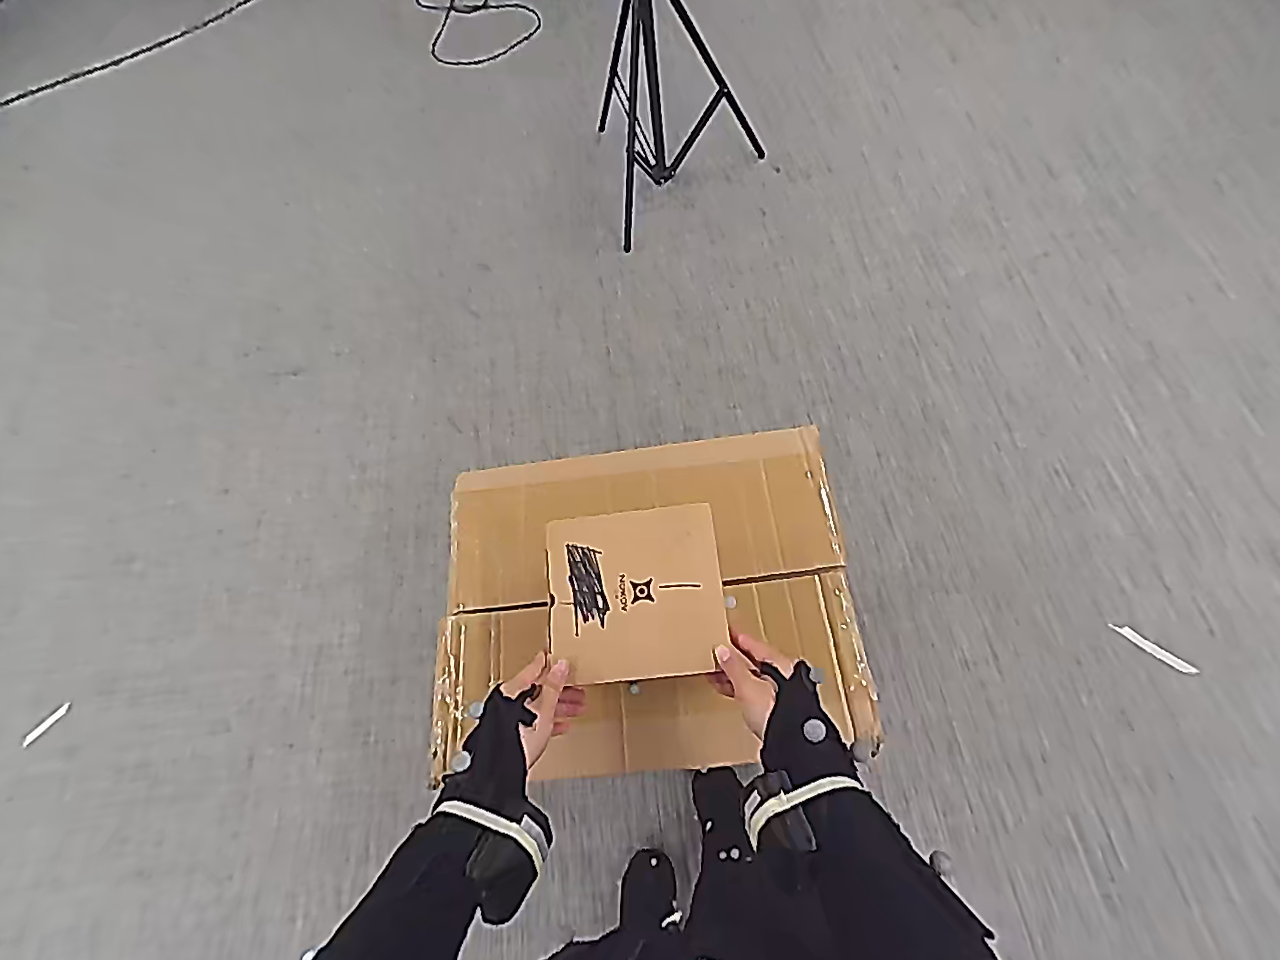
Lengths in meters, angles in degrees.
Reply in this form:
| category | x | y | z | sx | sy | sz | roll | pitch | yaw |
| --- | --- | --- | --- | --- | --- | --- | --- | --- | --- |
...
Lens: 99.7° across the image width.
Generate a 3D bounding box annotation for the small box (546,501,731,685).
| category | x | y | z | sx | sy | sz | roll | pitch | yaw |
| --- | --- | --- | --- | --- | --- | --- | --- | --- | --- |
| small box | 0.003 | 0.136 | 0.605 | 0.179 | 0.176 | 0.168 | -7 | 68 | 4 |
